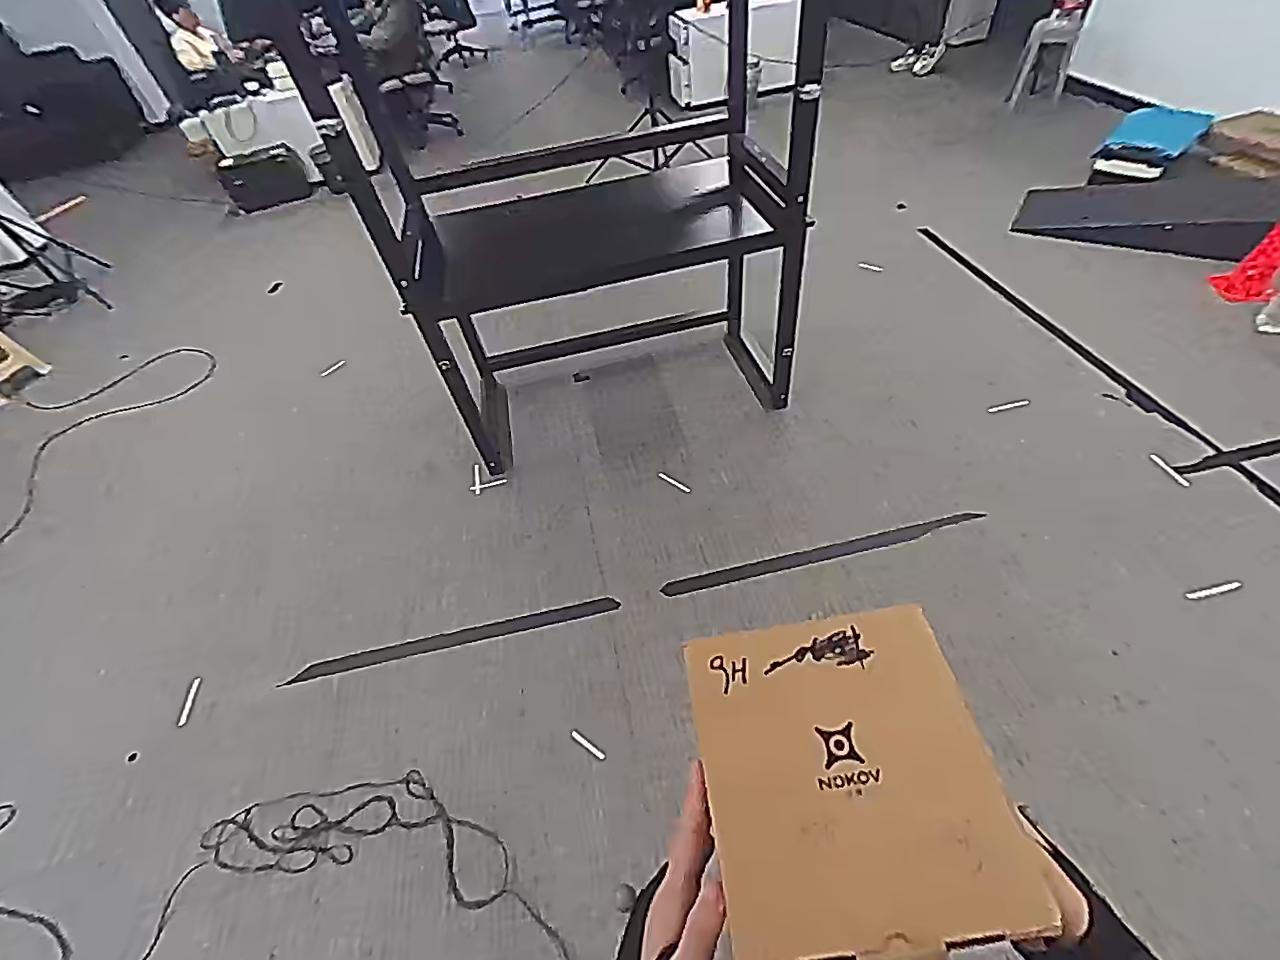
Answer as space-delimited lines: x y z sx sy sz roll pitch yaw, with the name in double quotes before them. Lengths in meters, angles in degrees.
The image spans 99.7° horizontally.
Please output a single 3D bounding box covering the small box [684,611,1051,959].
"small box" 0.129 0.217 0.388 0.168 0.176 0.179 -9 53 1
